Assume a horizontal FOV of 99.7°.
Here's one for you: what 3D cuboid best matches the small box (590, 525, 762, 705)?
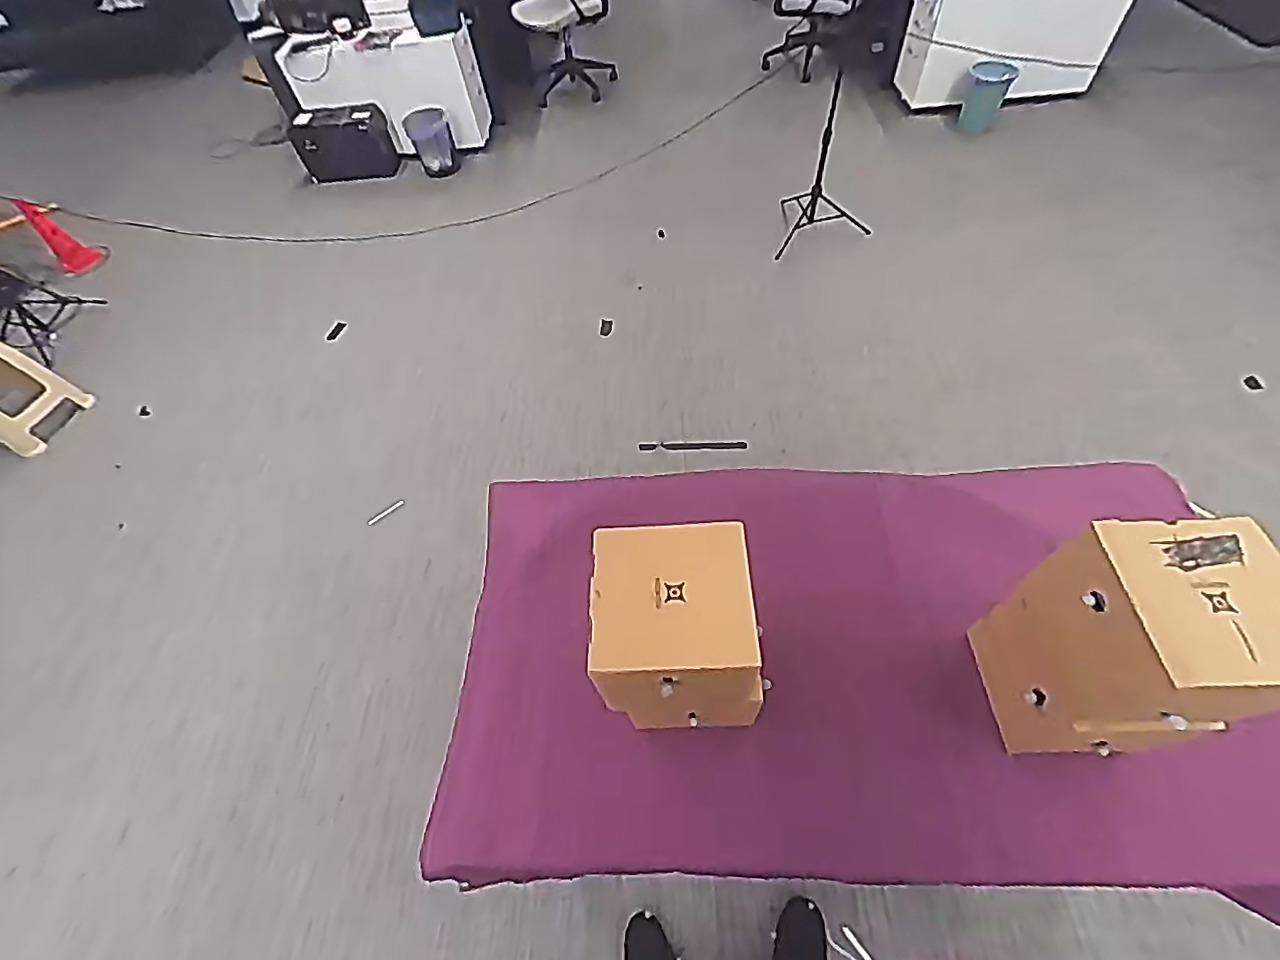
[{"bbox_3d":[0.042,0.168,0.652,0.179,0.176,0.168,-4,56,5],"label":"small box"}]

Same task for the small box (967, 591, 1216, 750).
[{"bbox_3d":[0.584,0.262,0.733,0.168,0.176,0.179,-2,56,4],"label":"small box"}]

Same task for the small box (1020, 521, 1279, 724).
[{"bbox_3d":[0.572,0.162,0.603,0.168,0.176,0.179,-2,56,5],"label":"small box"}]
